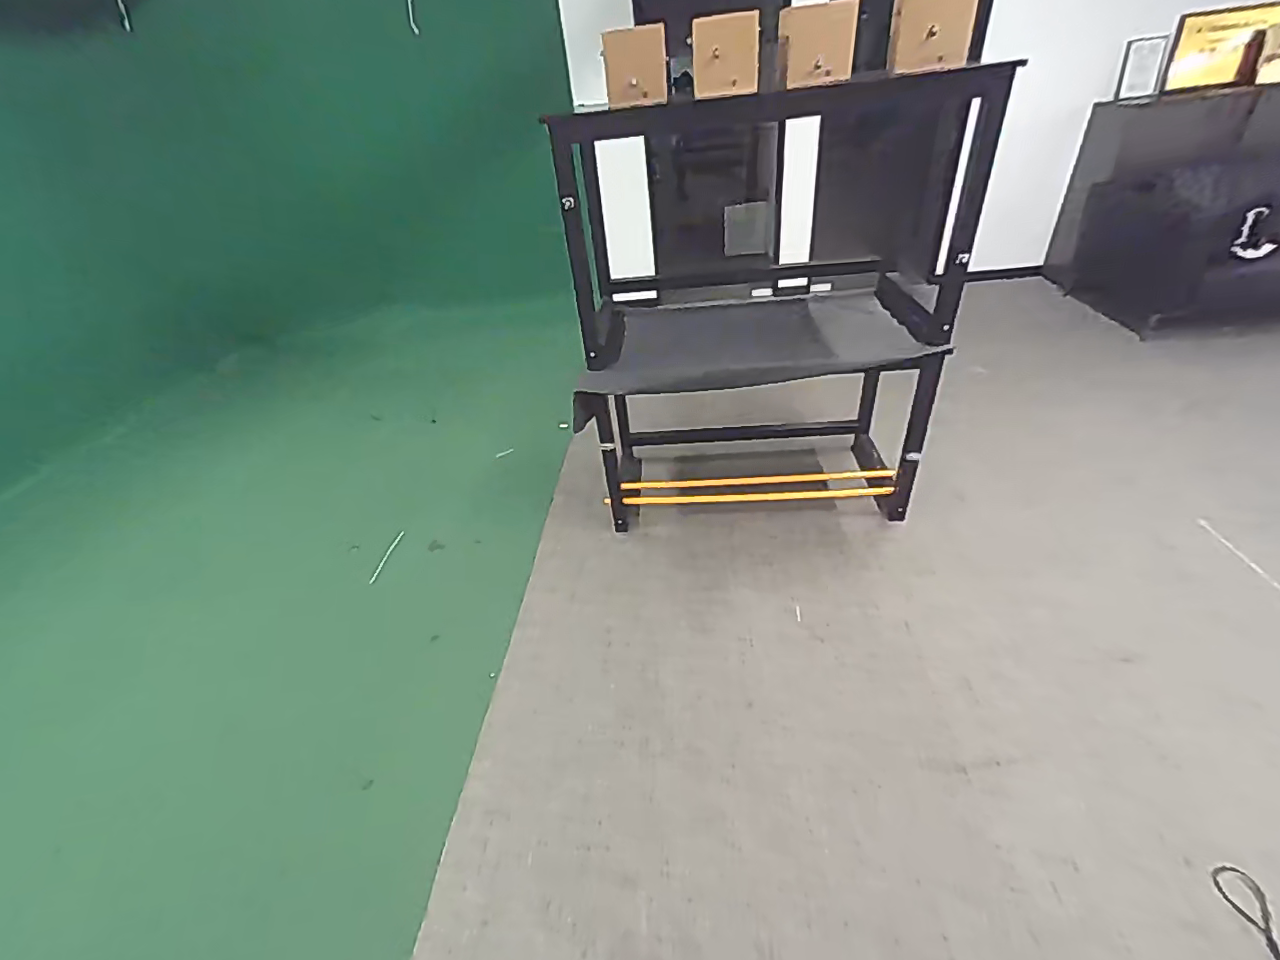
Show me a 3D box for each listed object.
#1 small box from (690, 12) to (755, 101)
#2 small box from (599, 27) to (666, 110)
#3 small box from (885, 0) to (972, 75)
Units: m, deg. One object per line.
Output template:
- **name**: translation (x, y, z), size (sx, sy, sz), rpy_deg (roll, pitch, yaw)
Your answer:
- **small box**: translation (0.225, -1.143, 1.468), size (0.168, 0.176, 0.179), rpy_deg (-2, 36, 8)
- **small box**: translation (-0.017, -1.144, 1.511), size (0.168, 0.176, 0.179), rpy_deg (-5, 37, 3)
- **small box**: translation (0.734, -1.153, 1.382), size (0.168, 0.176, 0.179), rpy_deg (3, 37, 14)
